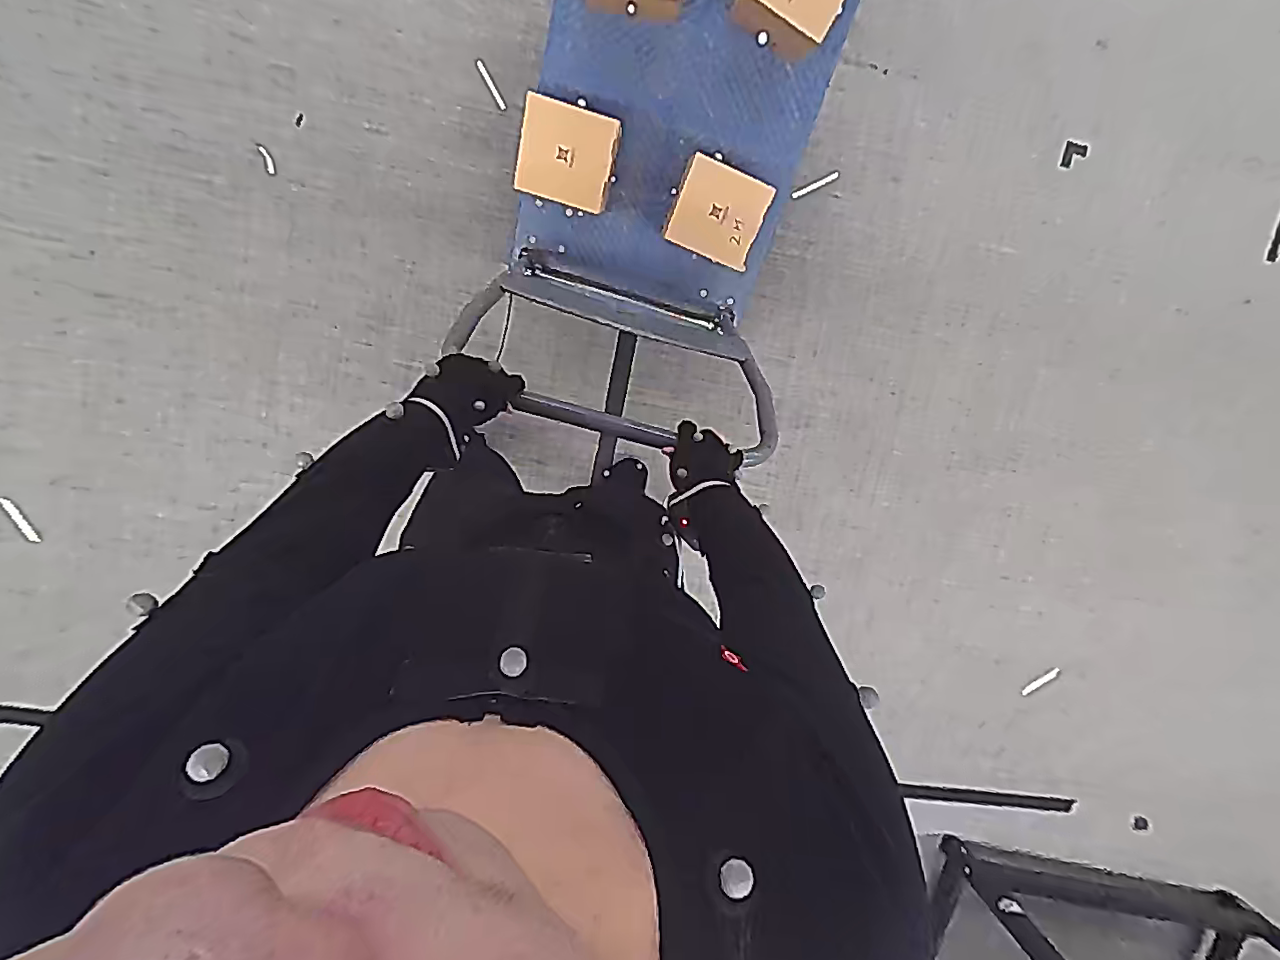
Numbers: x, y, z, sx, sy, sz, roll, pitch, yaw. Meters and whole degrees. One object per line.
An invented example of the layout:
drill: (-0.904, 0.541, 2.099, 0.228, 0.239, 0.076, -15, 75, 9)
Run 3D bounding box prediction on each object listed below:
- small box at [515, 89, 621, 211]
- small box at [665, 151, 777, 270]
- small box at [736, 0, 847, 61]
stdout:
small box: (-0.142, -0.658, 1.099, 0.179, 0.176, 0.168, 13, 116, -9)
small box: (0.160, -0.568, 1.149, 0.179, 0.176, 0.168, 20, 116, -10)
small box: (0.290, -0.908, 0.974, 0.168, 0.176, 0.179, 25, 116, -13)
